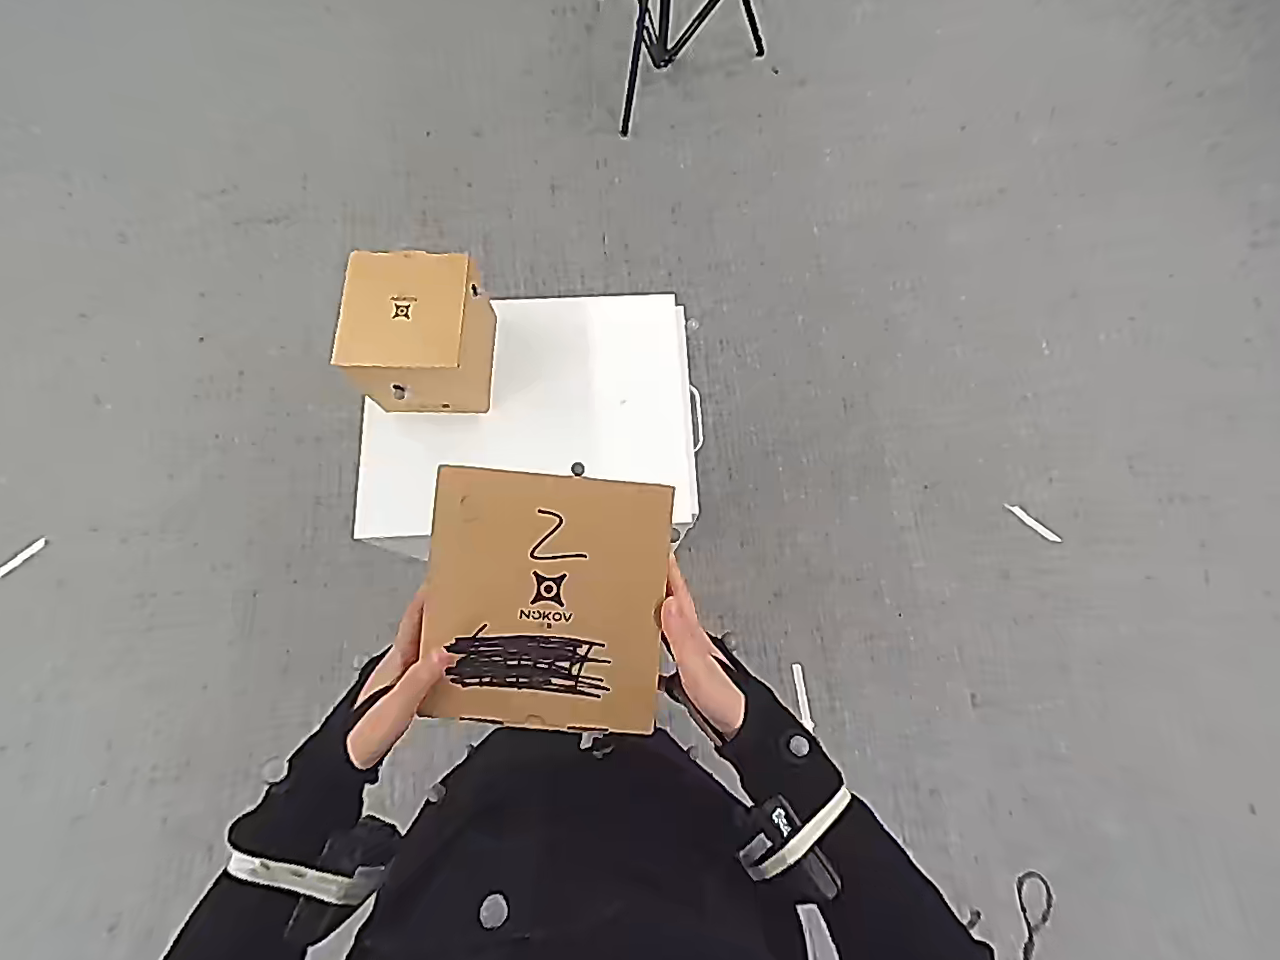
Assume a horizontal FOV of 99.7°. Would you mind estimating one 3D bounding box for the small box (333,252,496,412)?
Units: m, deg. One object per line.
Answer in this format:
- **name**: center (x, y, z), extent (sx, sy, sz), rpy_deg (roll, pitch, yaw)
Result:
- **small box**: center (-0.316, -0.207, 0.796), extent (0.168, 0.176, 0.179), rpy_deg (0, 75, -2)
